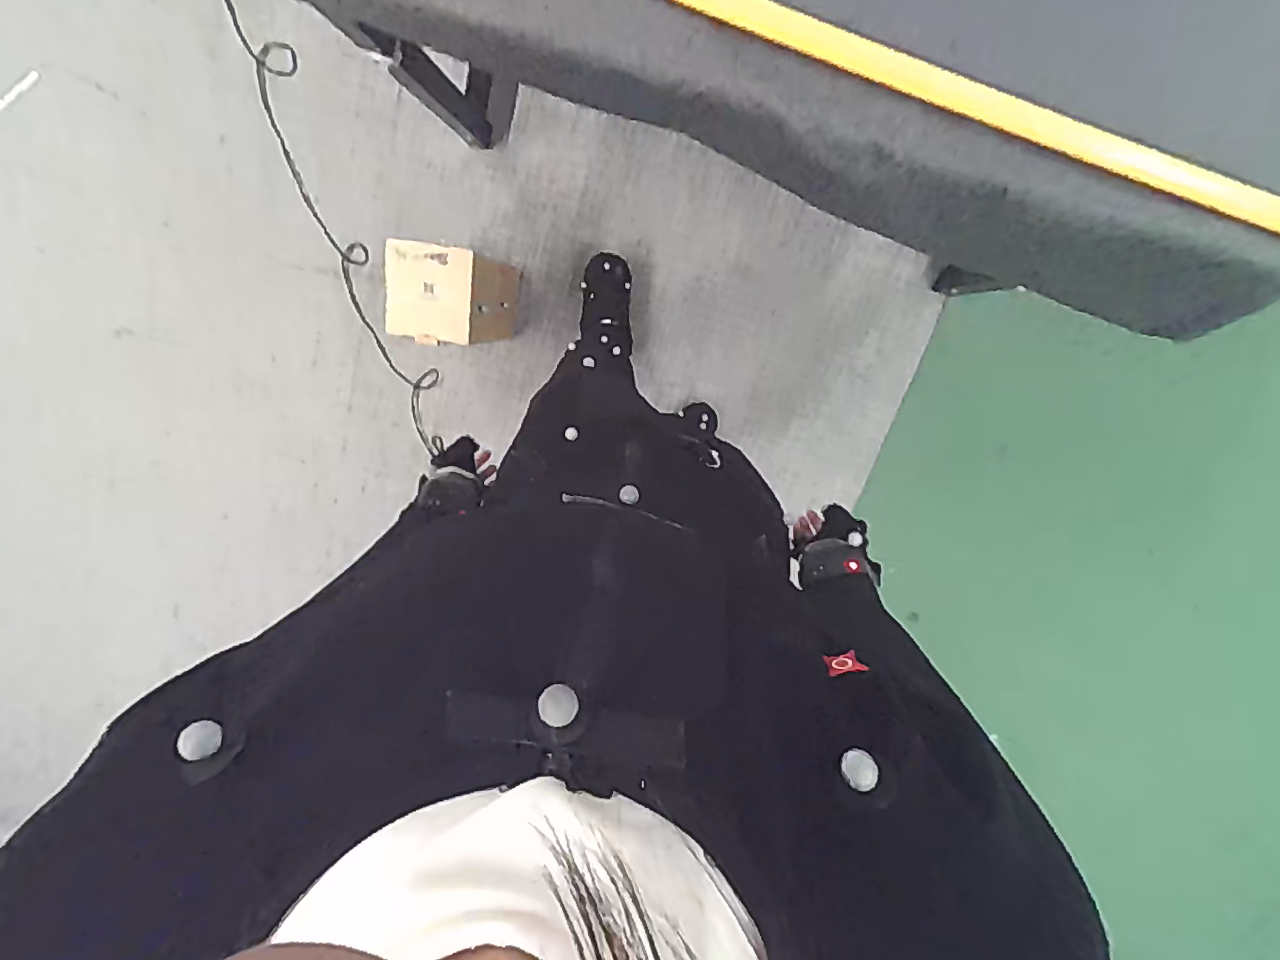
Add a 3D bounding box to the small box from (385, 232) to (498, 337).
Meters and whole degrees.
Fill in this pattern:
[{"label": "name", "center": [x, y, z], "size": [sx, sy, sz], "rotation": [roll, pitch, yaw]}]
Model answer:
[{"label": "small box", "center": [-0.394, -0.391, 1.099], "size": [0.168, 0.176, 0.179], "rotation": [6, 106, 2]}]
